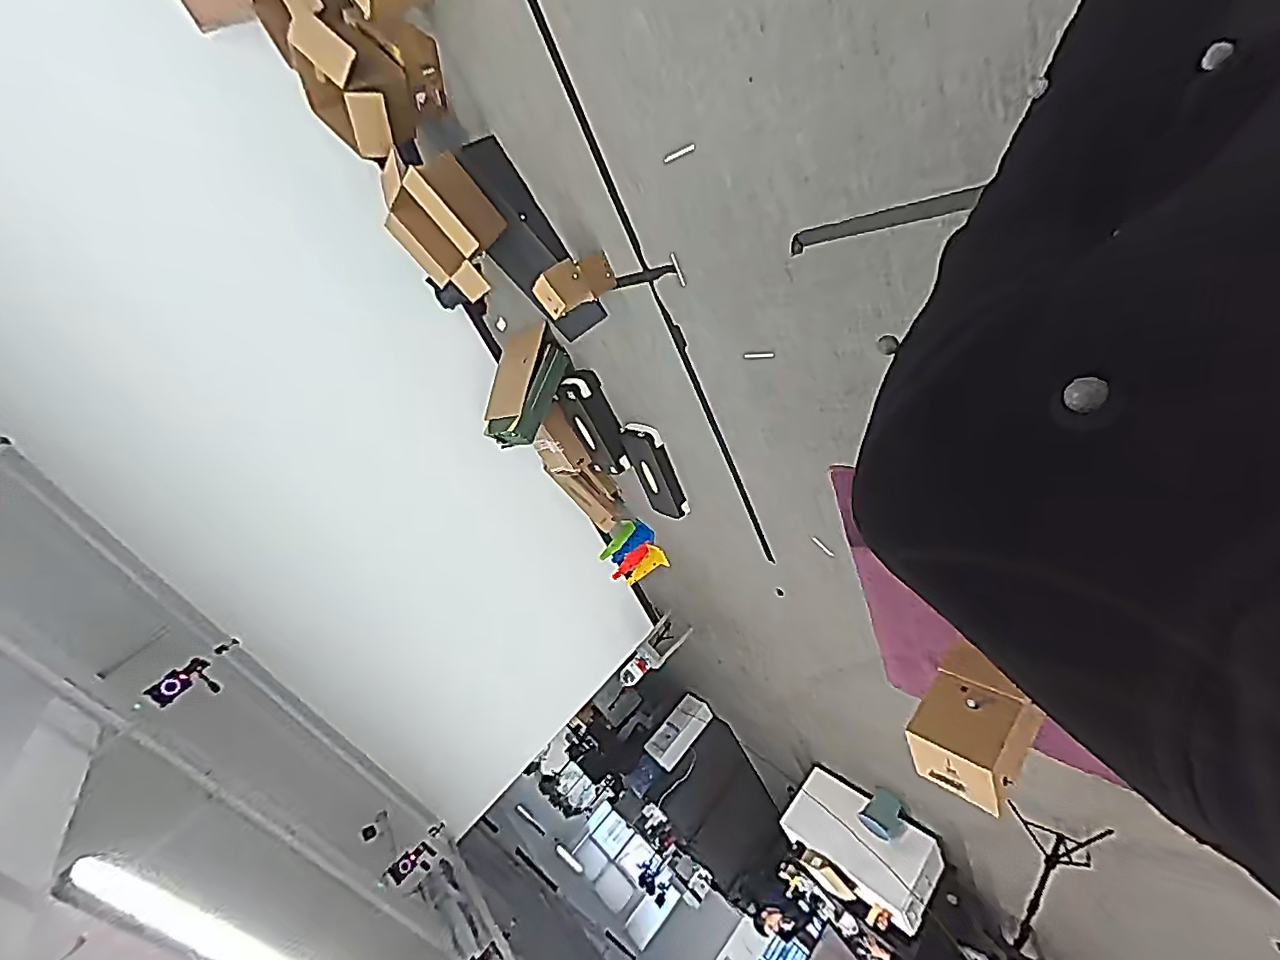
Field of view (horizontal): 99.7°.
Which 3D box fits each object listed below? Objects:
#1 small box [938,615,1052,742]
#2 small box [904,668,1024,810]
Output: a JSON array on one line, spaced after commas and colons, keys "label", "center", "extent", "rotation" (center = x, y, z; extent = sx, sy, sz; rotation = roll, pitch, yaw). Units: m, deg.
[{"label": "small box", "center": [0.798, 0.434, 1.212], "extent": [0.168, 0.176, 0.179], "rotation": [13, 138, 51]}, {"label": "small box", "center": [0.691, 0.541, 1.147], "extent": [0.168, 0.176, 0.179], "rotation": [13, 137, 50]}]
